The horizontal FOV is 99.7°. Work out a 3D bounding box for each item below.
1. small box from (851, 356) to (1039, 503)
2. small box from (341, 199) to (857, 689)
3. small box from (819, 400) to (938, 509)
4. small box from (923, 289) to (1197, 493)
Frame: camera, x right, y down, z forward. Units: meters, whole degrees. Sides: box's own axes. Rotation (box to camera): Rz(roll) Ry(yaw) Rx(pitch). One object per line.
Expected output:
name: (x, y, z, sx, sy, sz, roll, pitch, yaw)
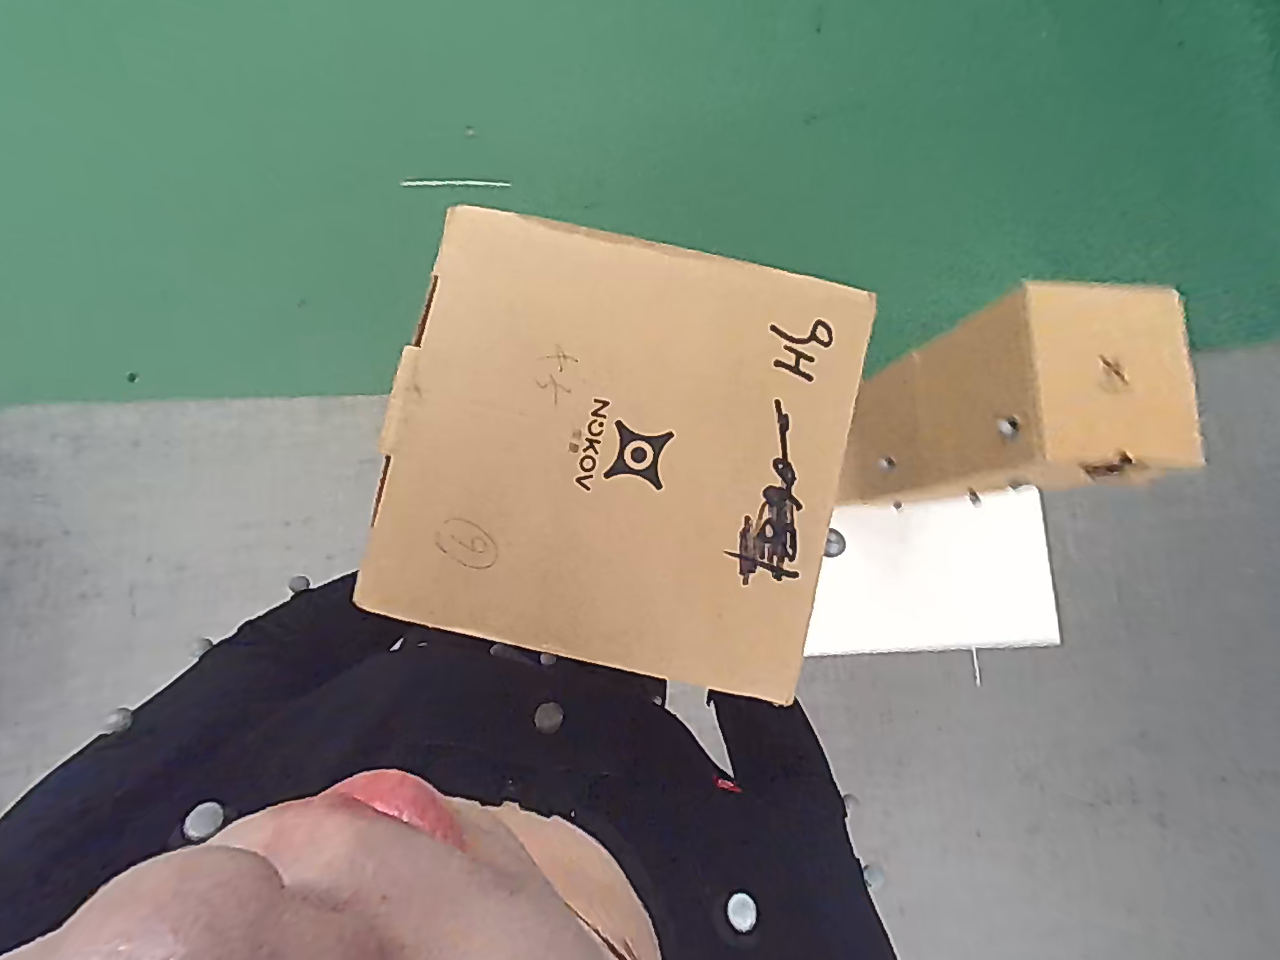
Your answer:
small box: (0.413, -0.059, 0.750, 0.168, 0.176, 0.179, -1, 82, -7)
small box: (-0.015, -0.012, 0.291, 0.179, 0.176, 0.168, 12, 87, 1)
small box: (0.412, -0.038, 0.912, 0.179, 0.176, 0.168, 0, 83, -6)
small box: (0.436, -0.084, 0.590, 0.168, 0.176, 0.179, 1, 83, -6)
